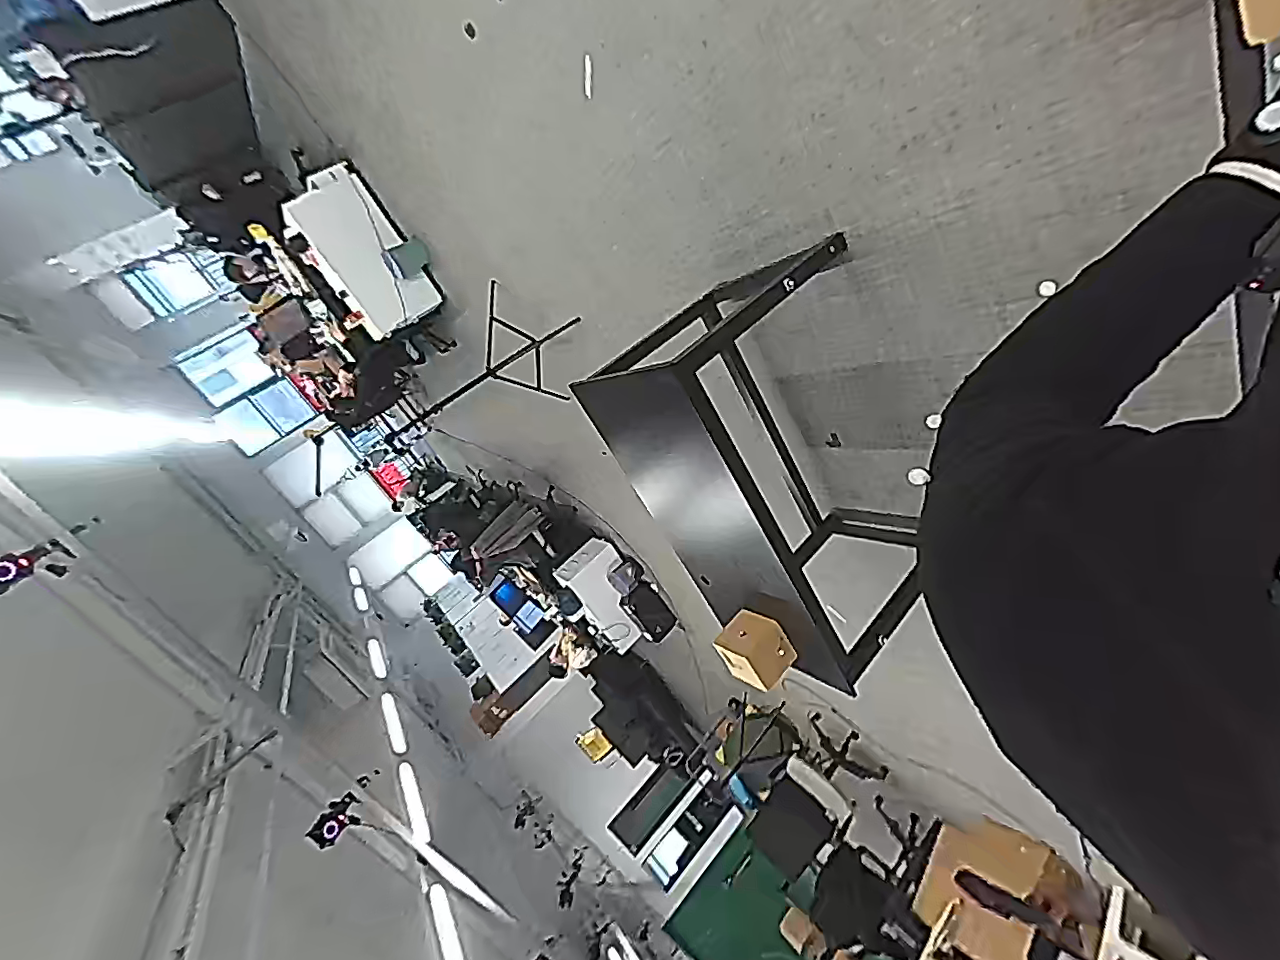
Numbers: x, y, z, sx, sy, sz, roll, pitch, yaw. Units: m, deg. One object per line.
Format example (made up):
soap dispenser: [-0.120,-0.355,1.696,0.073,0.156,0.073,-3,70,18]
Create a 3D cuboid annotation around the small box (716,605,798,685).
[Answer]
small box: [0.398,0.548,1.828,0.168,0.176,0.179,56,157,-19]
